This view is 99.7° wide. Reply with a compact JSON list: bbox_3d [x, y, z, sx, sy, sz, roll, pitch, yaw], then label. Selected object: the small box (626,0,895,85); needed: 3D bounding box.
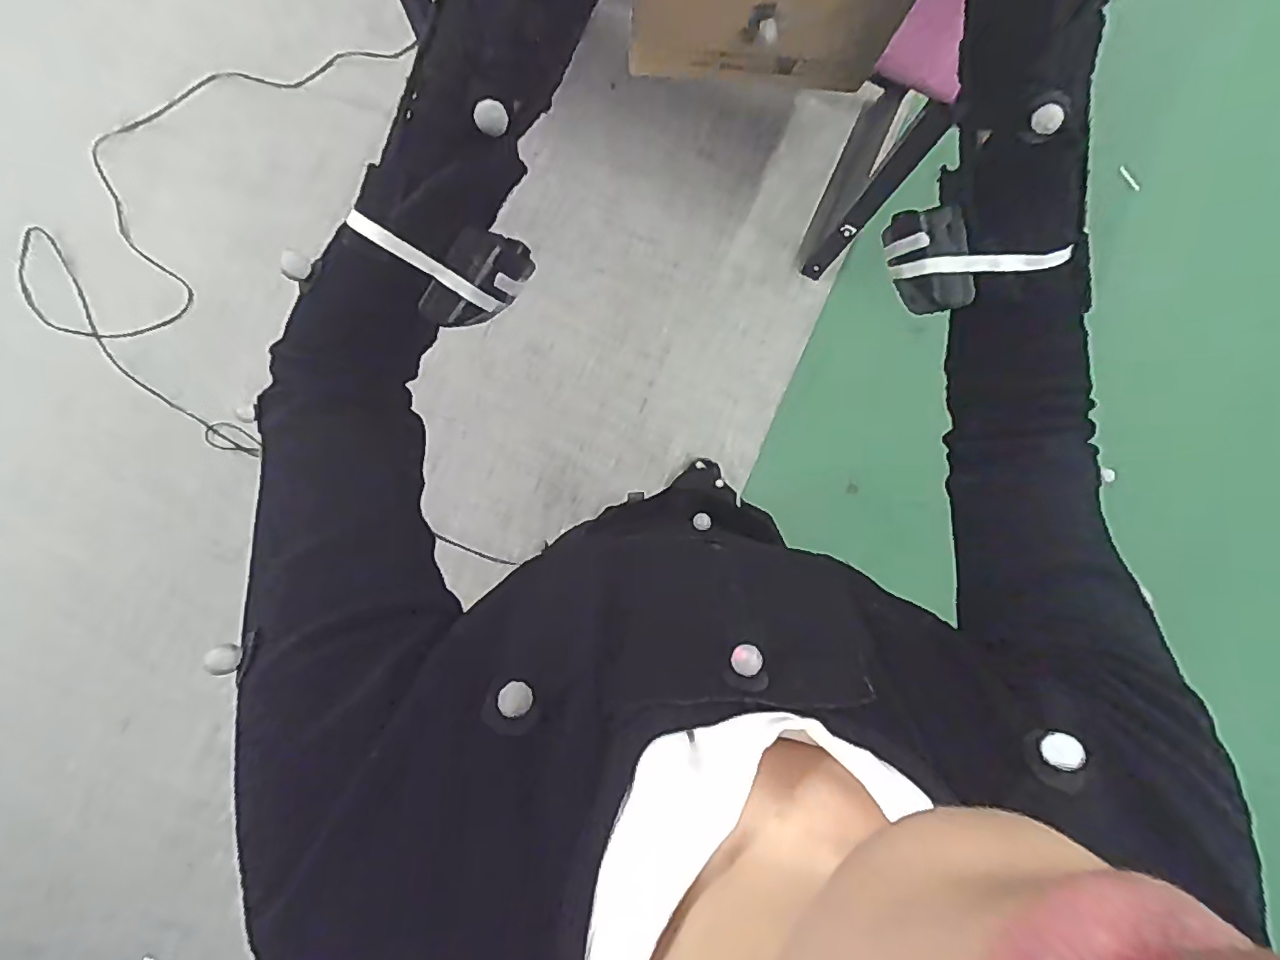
[{"bbox_3d":[0.078,-0.375,0.305,0.168,0.176,0.179,3,90,-3],"label":"small box"}]
